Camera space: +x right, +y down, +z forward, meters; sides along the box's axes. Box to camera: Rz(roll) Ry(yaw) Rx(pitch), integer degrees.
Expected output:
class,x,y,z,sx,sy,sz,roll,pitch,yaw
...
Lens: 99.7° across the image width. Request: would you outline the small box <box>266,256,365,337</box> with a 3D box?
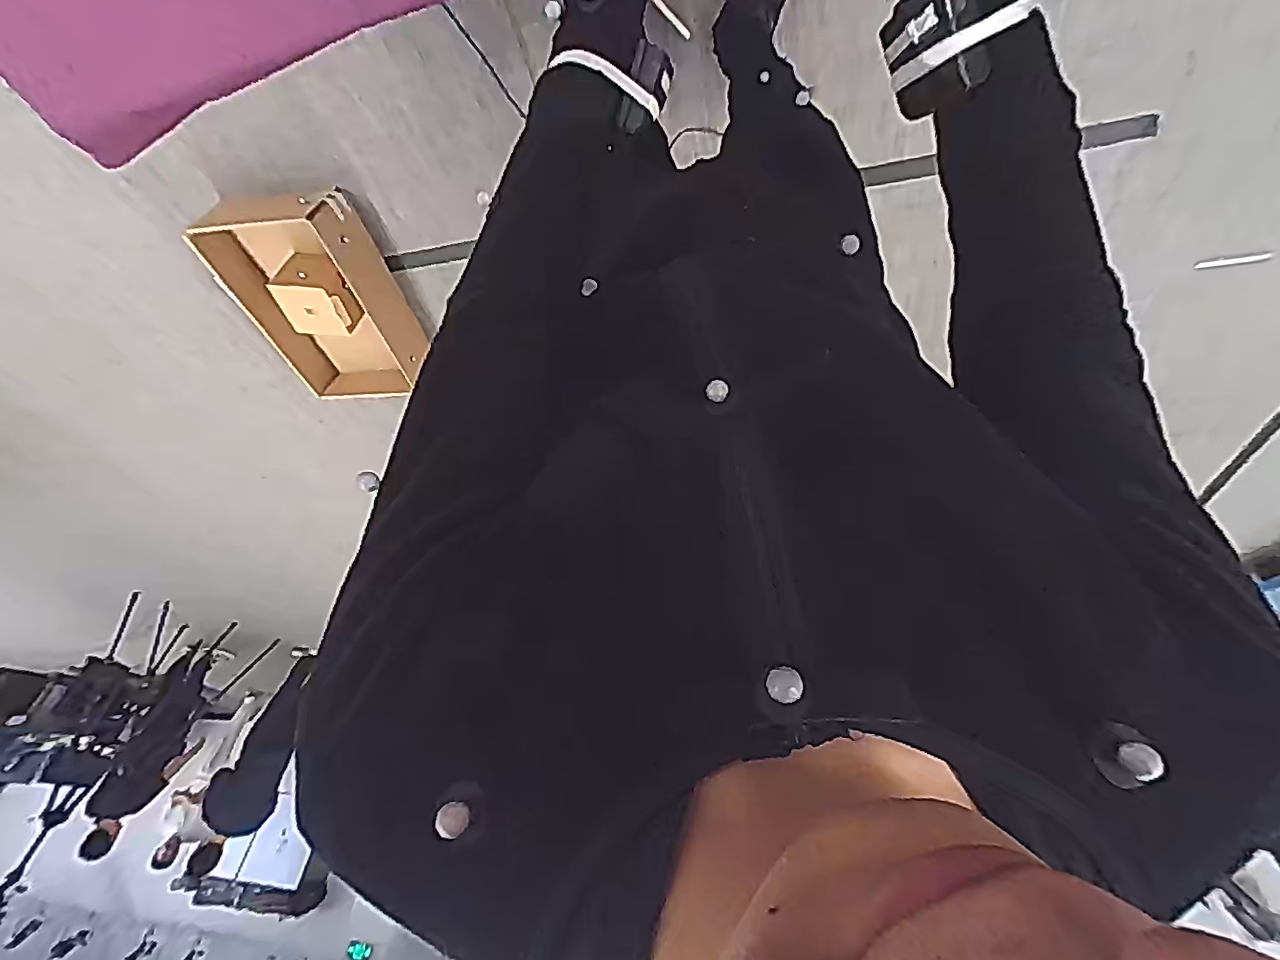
class,x,y,z,sx,sy,sz,roll,pitch,yaw
small box,-0.949,-0.546,1.605,0.179,0.176,0.168,4,143,4
